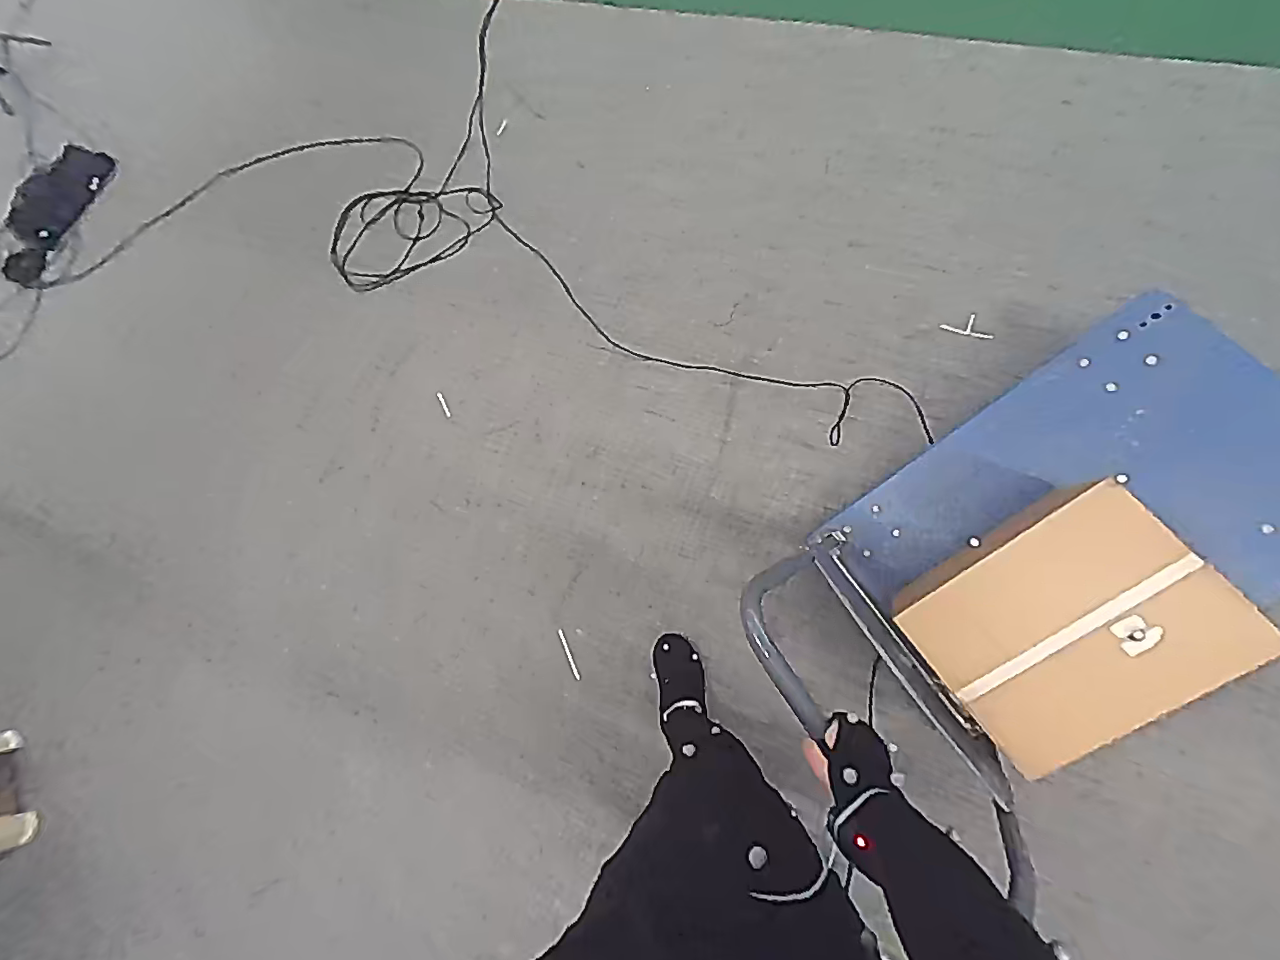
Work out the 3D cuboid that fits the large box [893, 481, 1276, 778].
[{"bbox_3d":[0.740,0.256,1.000,0.408,0.320,0.320,-40,71,16],"label":"large box"}]
